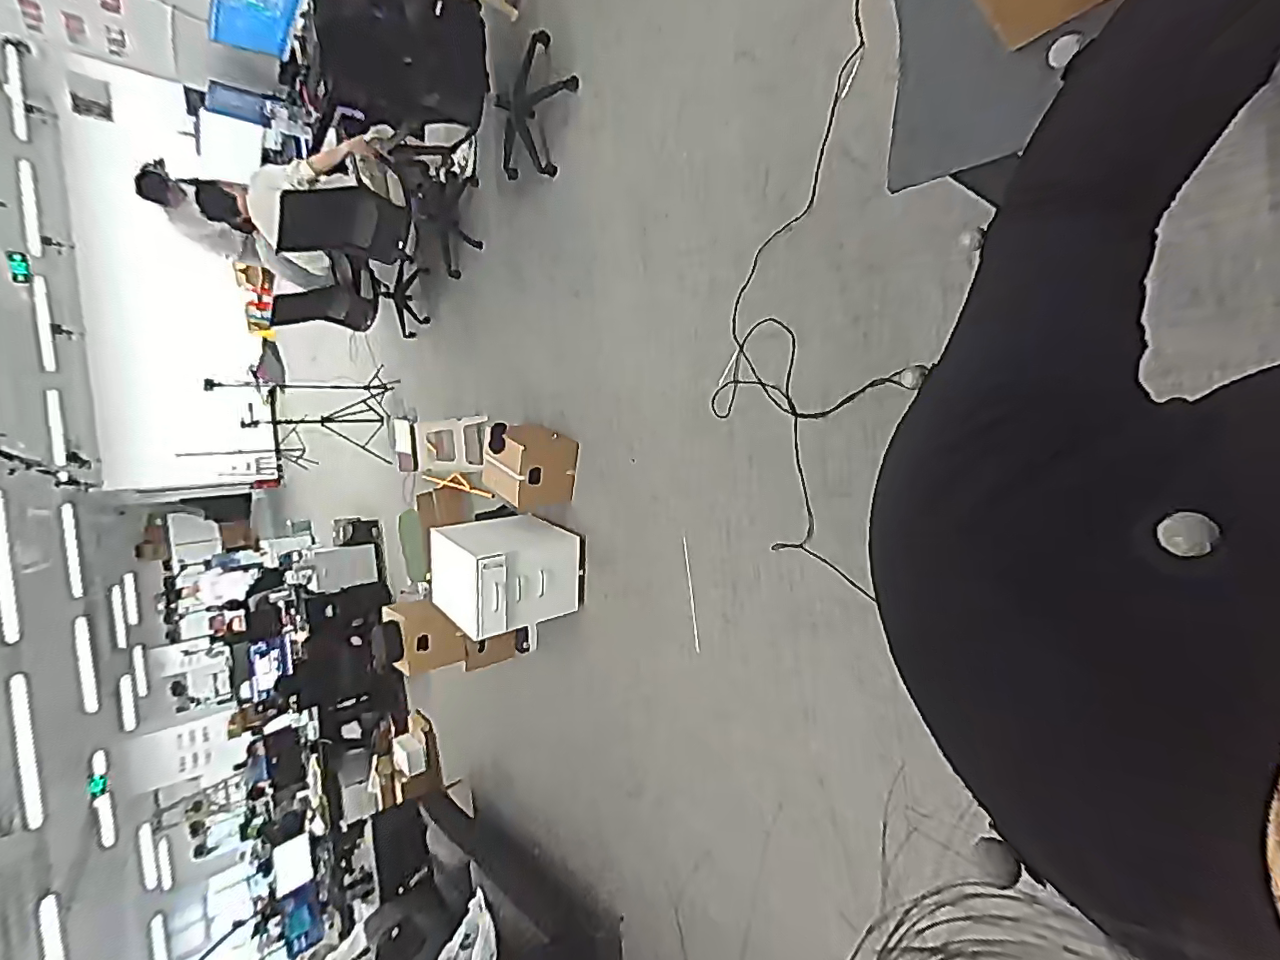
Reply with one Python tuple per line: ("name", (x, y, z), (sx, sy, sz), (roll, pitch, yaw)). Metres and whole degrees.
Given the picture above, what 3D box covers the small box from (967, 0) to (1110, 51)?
("small box", (0.433, -0.590, 0.536), (0.179, 0.176, 0.168), (-6, 88, 51))
